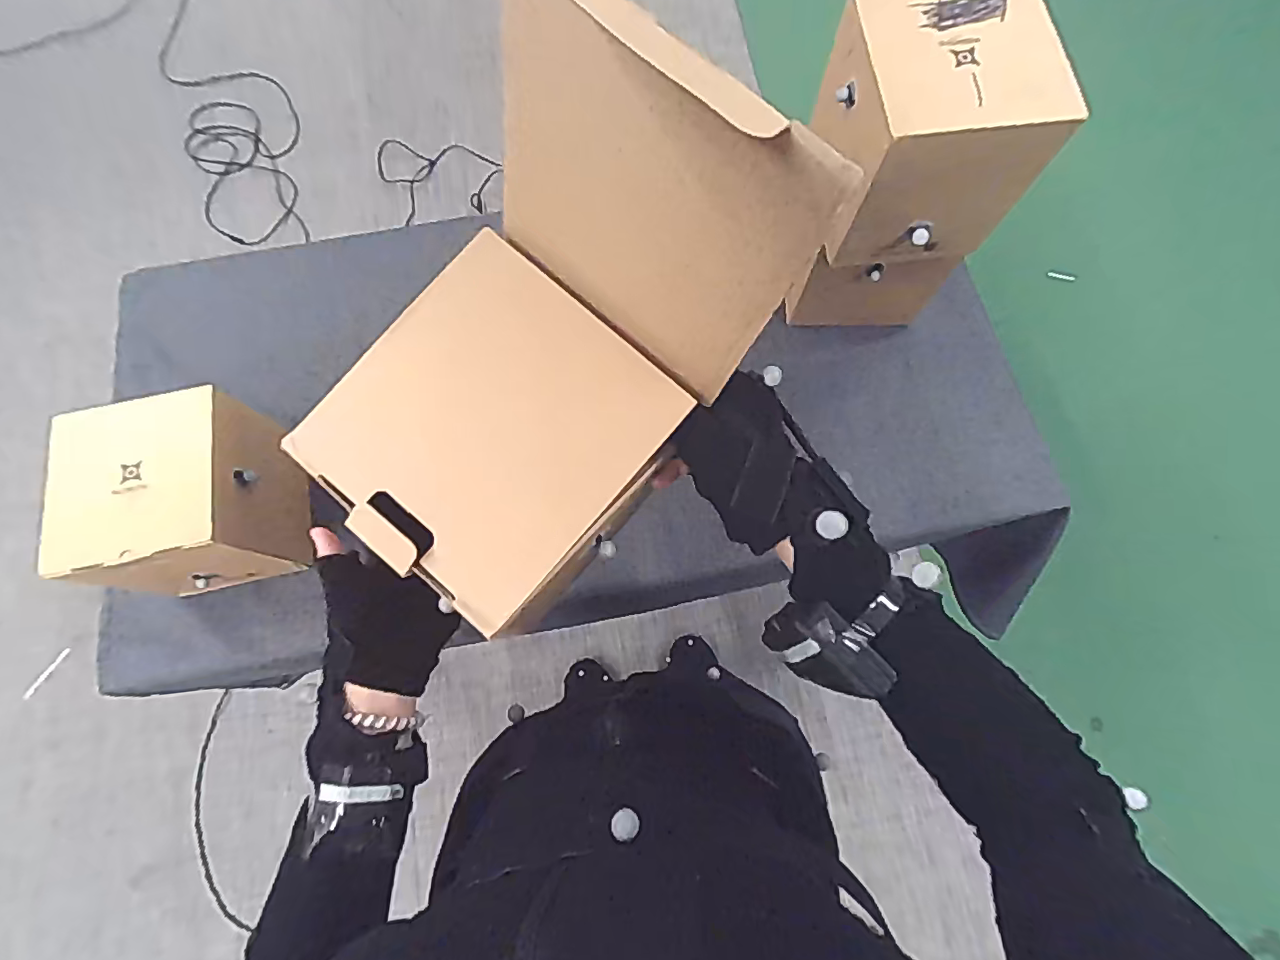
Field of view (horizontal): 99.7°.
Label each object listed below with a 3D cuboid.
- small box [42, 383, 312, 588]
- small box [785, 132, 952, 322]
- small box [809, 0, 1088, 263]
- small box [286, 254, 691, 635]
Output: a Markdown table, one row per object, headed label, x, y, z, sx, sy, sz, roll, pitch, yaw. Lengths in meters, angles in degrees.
| label | x | y | z | sx | sy | sz | roll | pitch | yaw |
| --- | --- | --- | --- | --- | --- | --- | --- | --- | --- |
| small box | -0.507 | 0.016 | 0.621 | 0.168 | 0.176 | 0.179 | -12 | 74 | -3 |
| small box | 0.293 | -0.322 | 0.706 | 0.179 | 0.176 | 0.168 | 1 | 74 | 1 |
| small box | 0.282 | -0.350 | 0.544 | 0.168 | 0.176 | 0.179 | -5 | 75 | 0 |
| small box | -0.090 | -0.010 | 0.389 | 0.168 | 0.176 | 0.179 | 41 | 75 | 5 |
